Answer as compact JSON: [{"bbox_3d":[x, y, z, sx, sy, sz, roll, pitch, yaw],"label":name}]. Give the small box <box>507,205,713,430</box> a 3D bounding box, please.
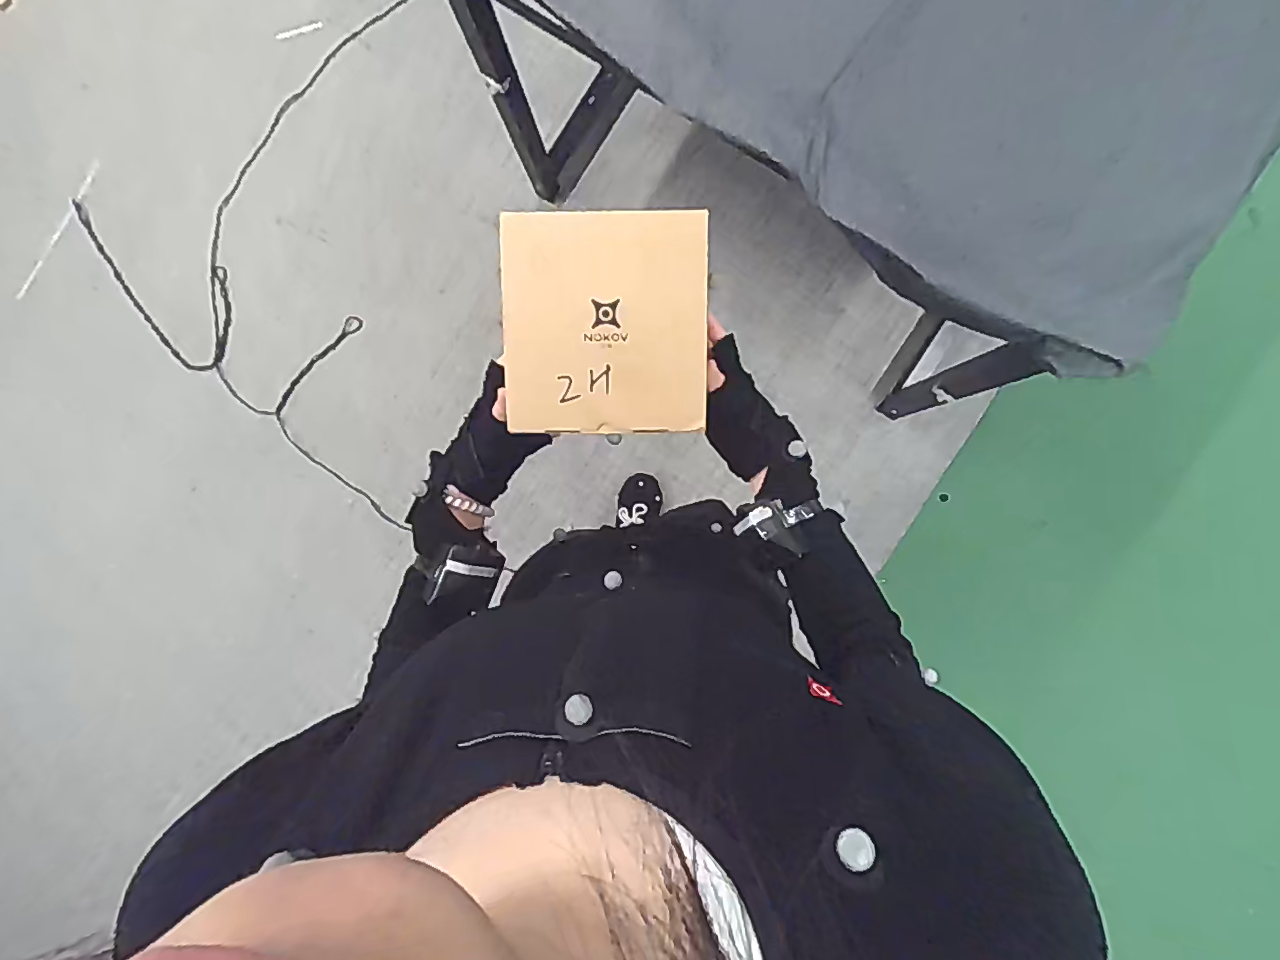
[{"bbox_3d":[-0.025,-0.138,0.513,0.168,0.176,0.179,1,98,1],"label":"small box"}]
